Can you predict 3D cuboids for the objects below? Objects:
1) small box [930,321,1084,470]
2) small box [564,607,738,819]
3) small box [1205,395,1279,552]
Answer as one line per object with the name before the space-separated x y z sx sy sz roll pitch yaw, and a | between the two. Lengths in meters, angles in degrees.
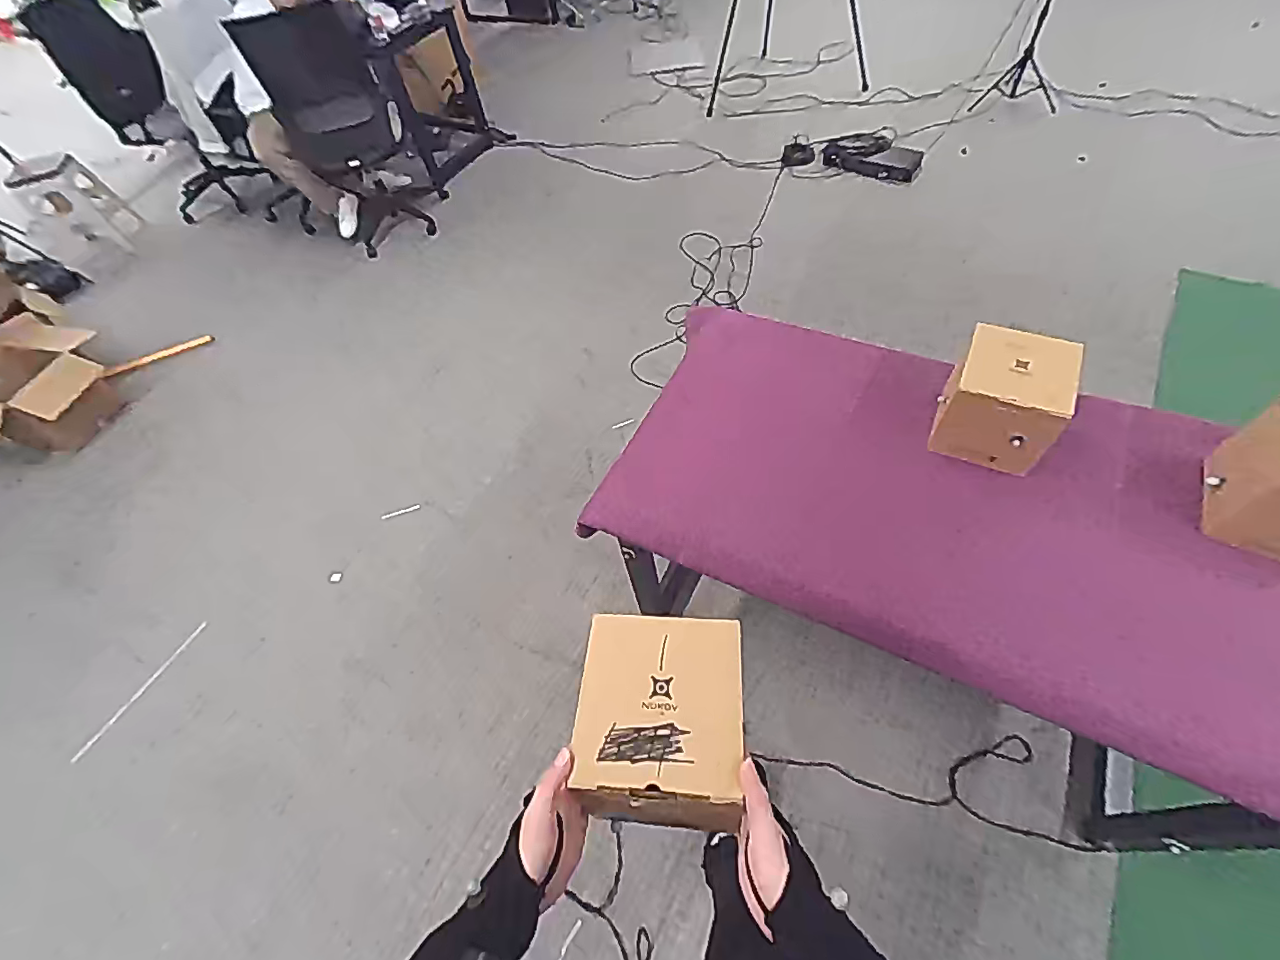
small box | 0.633 -0.145 0.951 0.168 0.176 0.179 21 61 21
small box | 0.026 0.262 0.605 0.168 0.176 0.179 0 49 8
small box | 0.989 0.002 0.793 0.168 0.176 0.179 22 62 22
